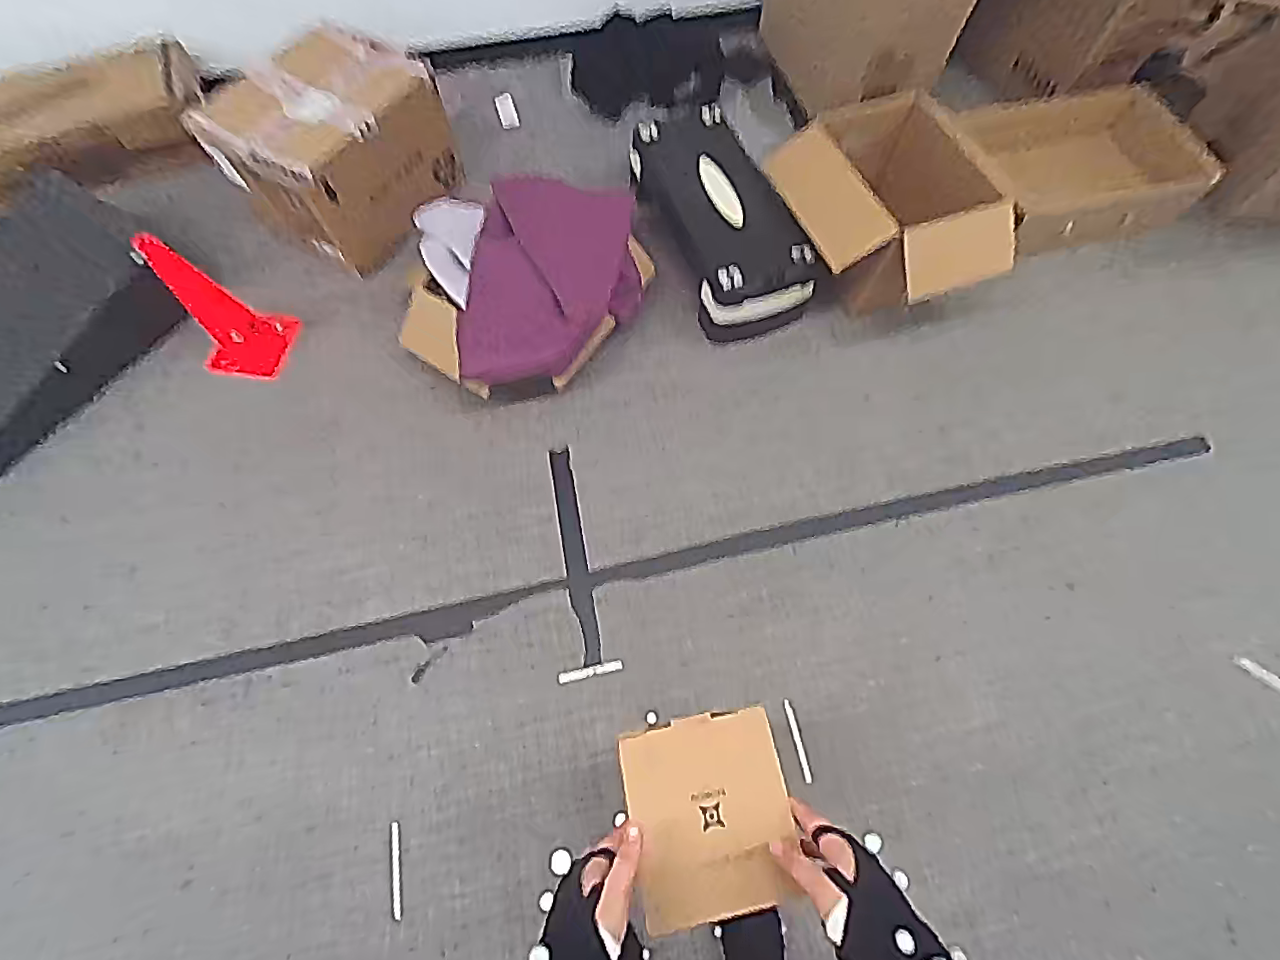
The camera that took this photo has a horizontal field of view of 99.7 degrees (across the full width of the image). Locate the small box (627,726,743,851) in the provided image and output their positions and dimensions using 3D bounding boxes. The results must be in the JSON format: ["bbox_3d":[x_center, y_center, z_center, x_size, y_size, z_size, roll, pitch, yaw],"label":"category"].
[{"bbox_3d":[0.074,0.556,0.995,0.179,0.176,0.168,-8,67,-5],"label":"small box"}]
